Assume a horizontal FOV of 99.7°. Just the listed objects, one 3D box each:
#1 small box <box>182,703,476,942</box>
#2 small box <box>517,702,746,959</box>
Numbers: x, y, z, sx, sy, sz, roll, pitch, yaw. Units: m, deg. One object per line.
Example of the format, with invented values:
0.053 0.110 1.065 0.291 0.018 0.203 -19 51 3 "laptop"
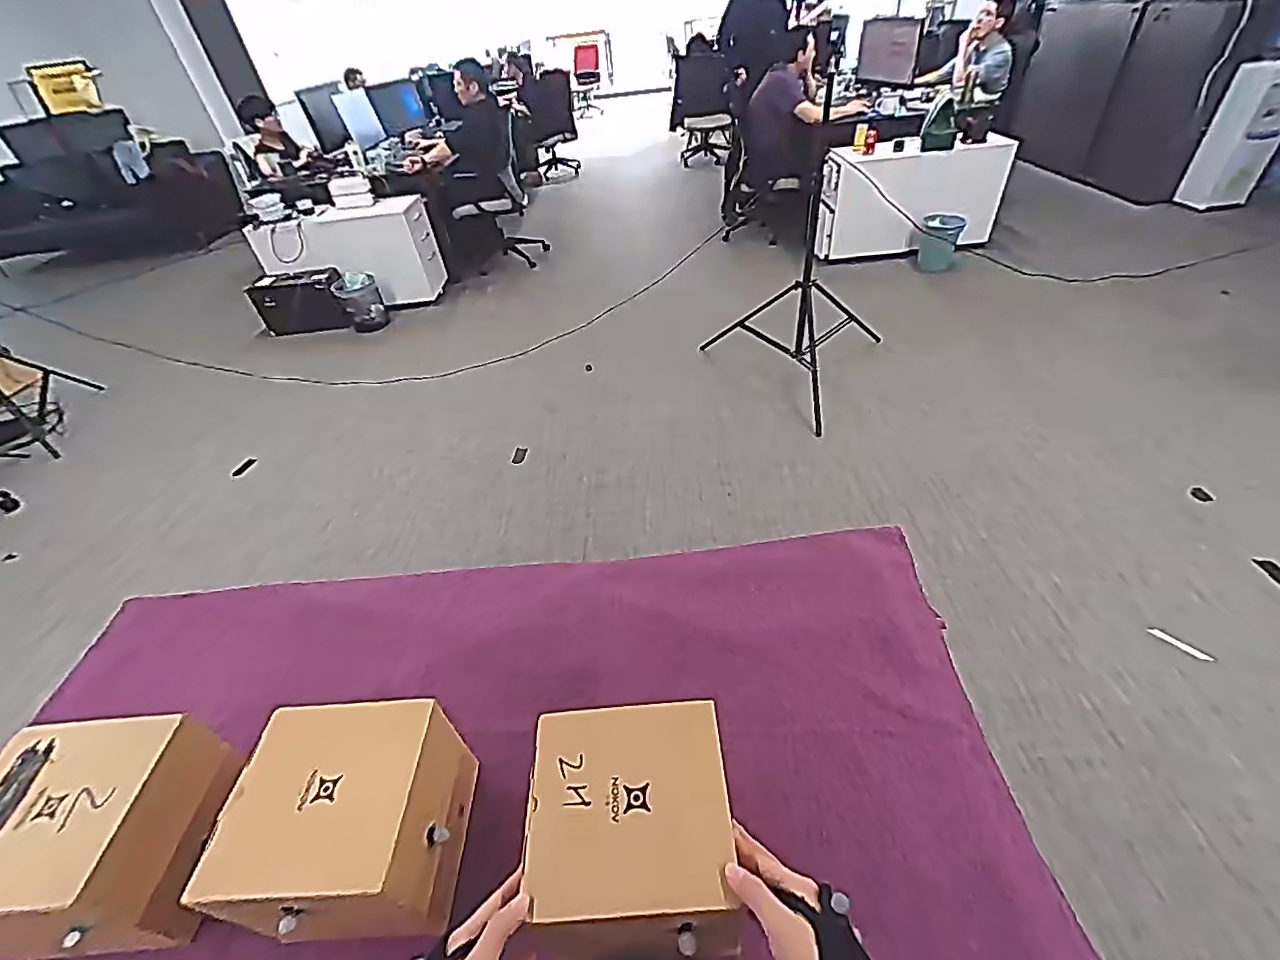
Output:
-0.285 0.349 0.551 0.179 0.176 0.168 -6 41 3 "small box"
-0.002 0.336 0.515 0.179 0.176 0.168 -6 39 2 "small box"
